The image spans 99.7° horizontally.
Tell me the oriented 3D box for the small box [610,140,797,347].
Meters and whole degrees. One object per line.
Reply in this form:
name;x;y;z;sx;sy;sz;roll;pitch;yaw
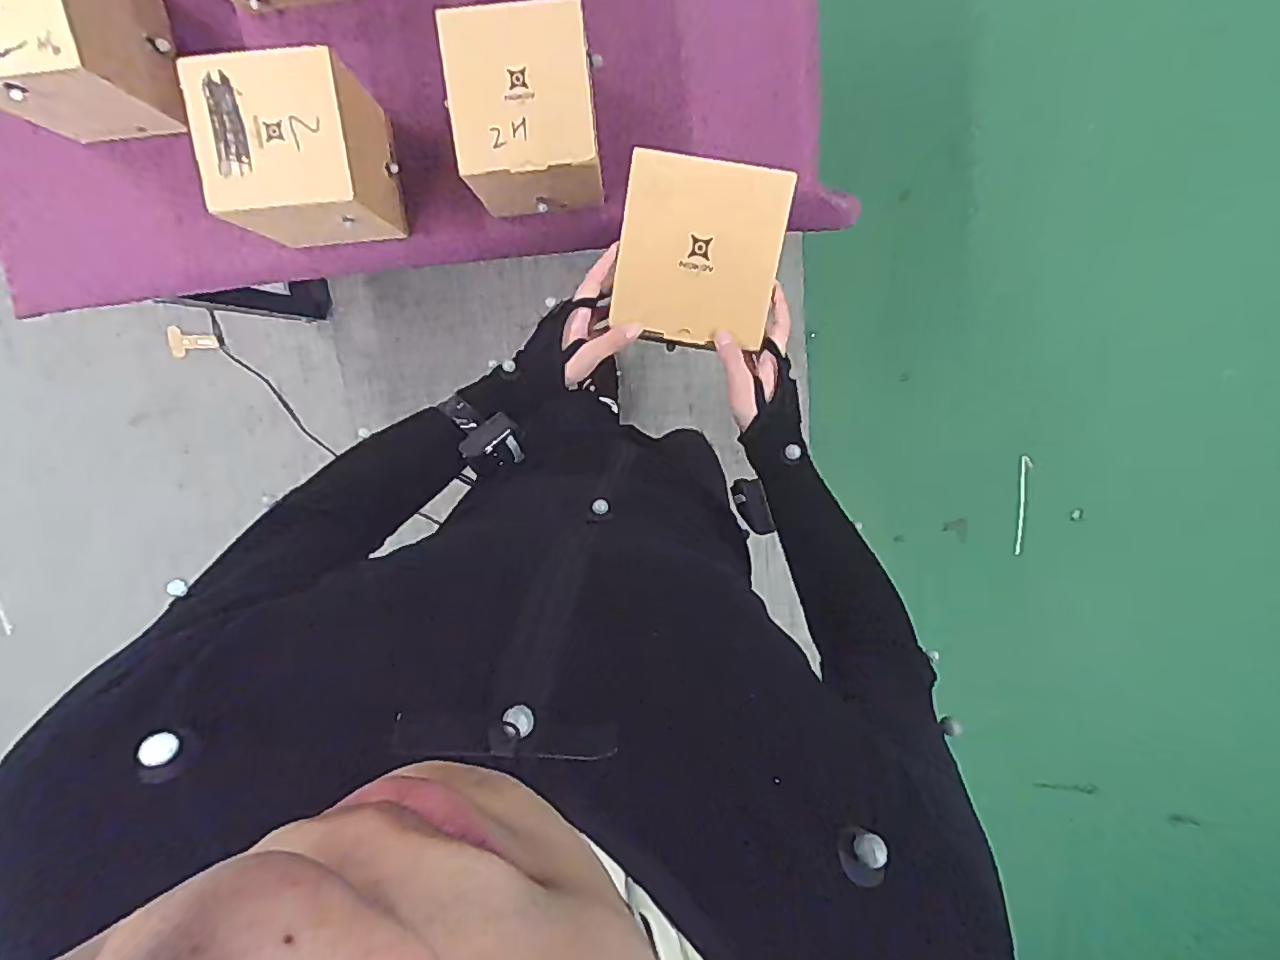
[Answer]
small box;0.065;-0.256;0.626;0.168;0.176;0.179;10;104;1

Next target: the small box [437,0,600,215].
small box;-0.143;-0.467;0.701;0.168;0.176;0.179;-6;101;0

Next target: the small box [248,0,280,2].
small box;-0.472;-0.715;0.641;0.168;0.176;0.179;-8;101;0

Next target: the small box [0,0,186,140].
small box;-0.719;-0.554;0.664;0.168;0.176;0.179;-6;101;1
